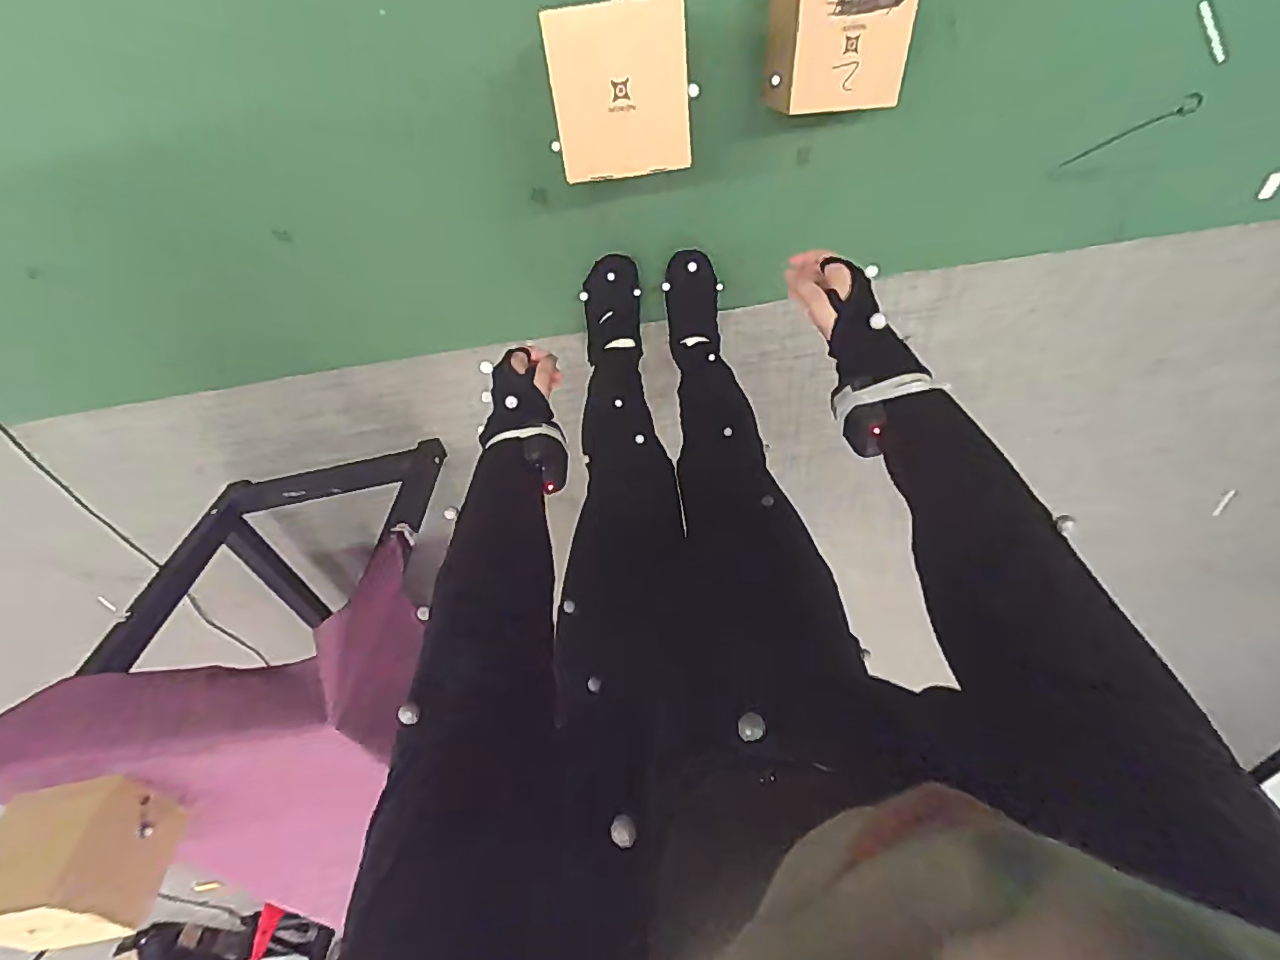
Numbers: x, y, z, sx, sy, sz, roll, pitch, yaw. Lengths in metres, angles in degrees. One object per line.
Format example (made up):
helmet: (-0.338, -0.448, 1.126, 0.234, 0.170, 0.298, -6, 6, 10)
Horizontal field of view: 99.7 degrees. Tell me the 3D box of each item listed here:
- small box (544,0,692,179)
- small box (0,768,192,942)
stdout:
small box: (-0.025, -0.521, 0.715, 0.168, 0.176, 0.179, -7, 130, 2)
small box: (-0.852, 0.567, 0.822, 0.179, 0.176, 0.168, -11, 131, 1)
